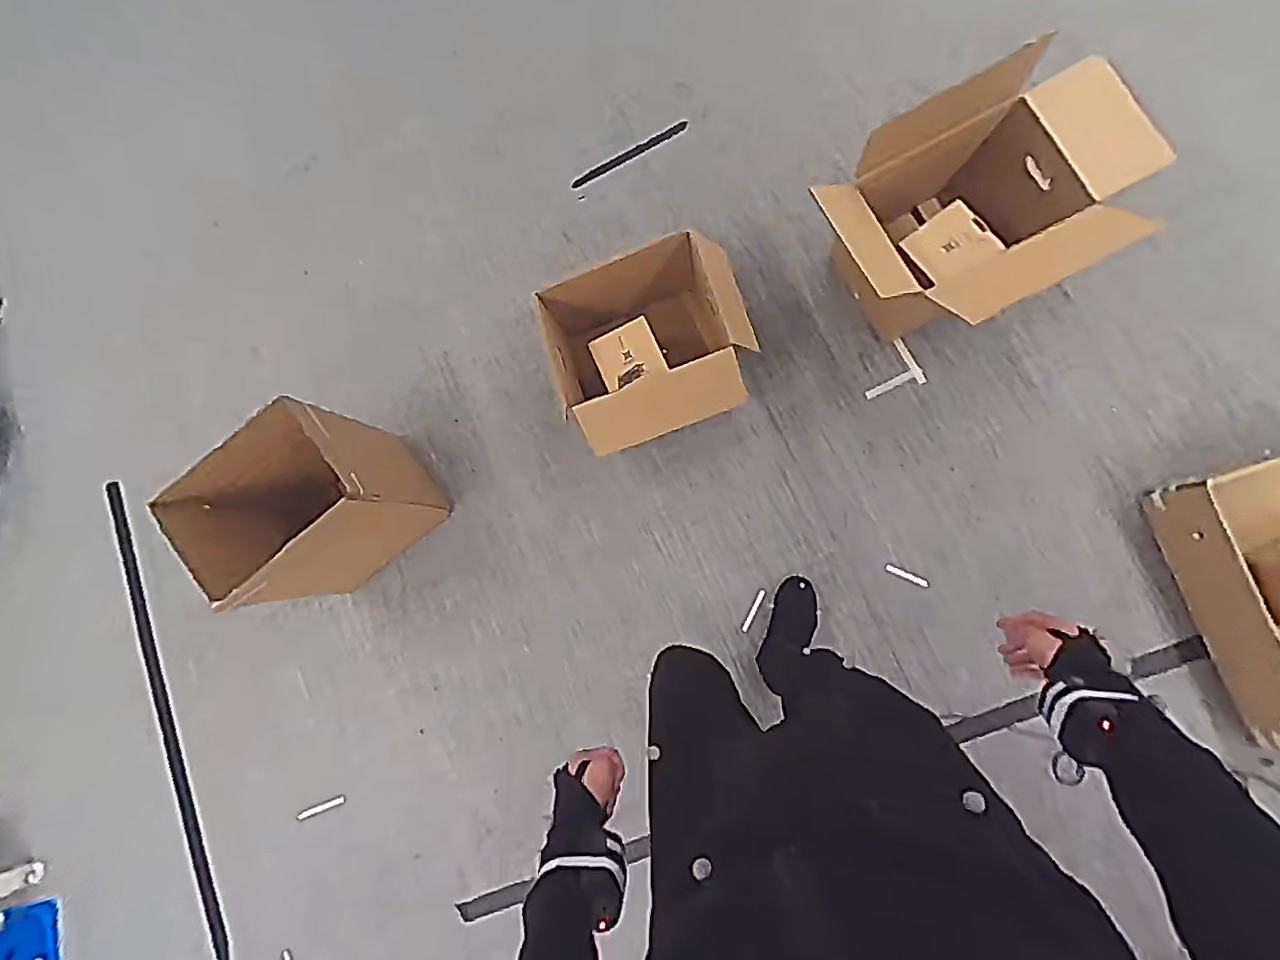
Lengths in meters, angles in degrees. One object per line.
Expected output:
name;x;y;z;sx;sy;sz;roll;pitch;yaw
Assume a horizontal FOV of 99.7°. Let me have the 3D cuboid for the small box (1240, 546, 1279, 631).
small box;1.432;0.222;1.124;0.179;0.176;0.168;-23;81;5
